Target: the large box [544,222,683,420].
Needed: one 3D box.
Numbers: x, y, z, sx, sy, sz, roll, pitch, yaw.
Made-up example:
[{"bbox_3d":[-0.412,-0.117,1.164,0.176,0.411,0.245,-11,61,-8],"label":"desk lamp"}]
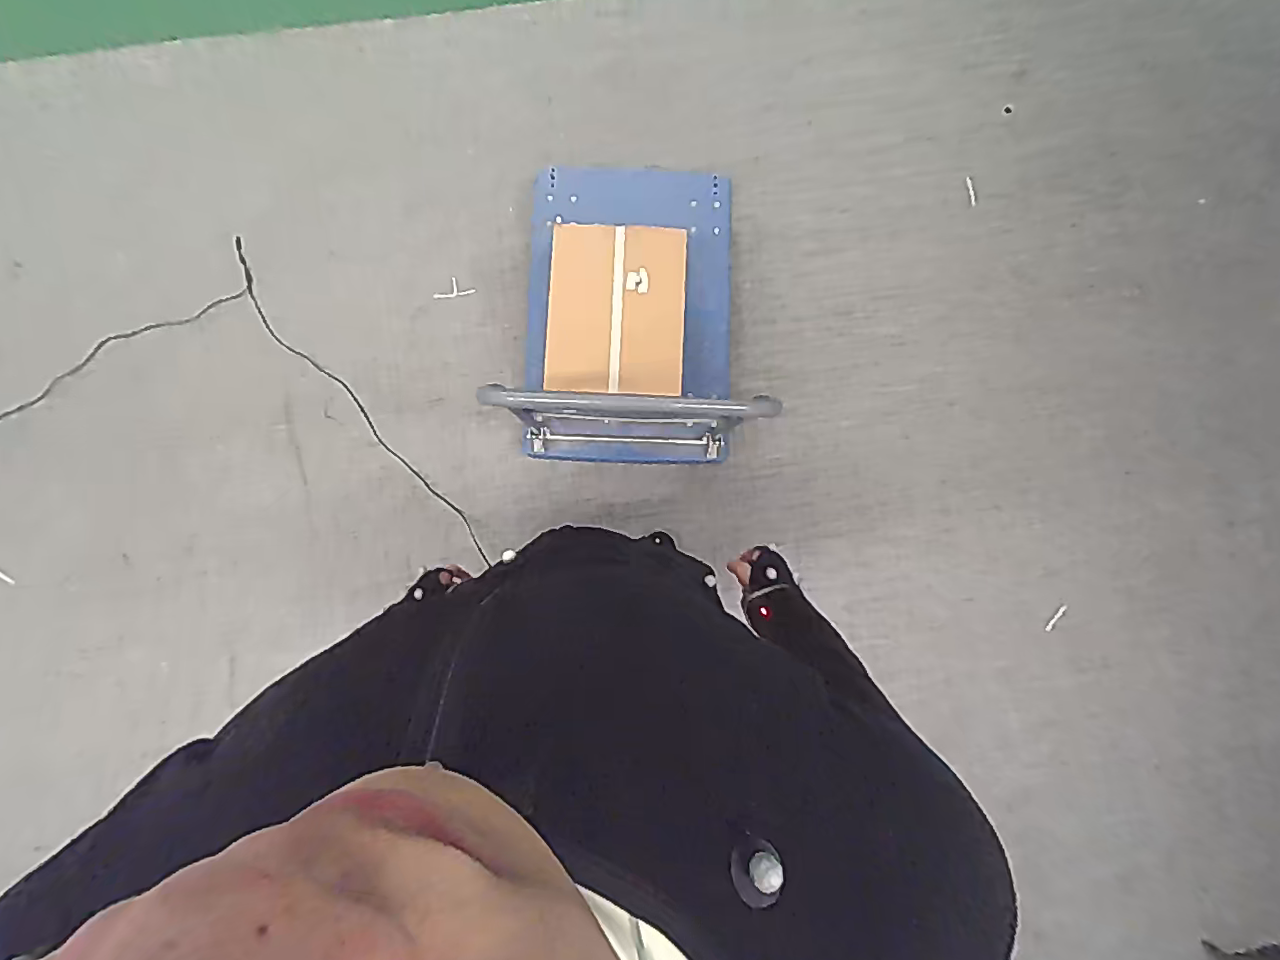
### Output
[{"bbox_3d":[-0.059,-0.384,1.392,0.320,0.320,0.408,3,83,-2],"label":"large box"}]
